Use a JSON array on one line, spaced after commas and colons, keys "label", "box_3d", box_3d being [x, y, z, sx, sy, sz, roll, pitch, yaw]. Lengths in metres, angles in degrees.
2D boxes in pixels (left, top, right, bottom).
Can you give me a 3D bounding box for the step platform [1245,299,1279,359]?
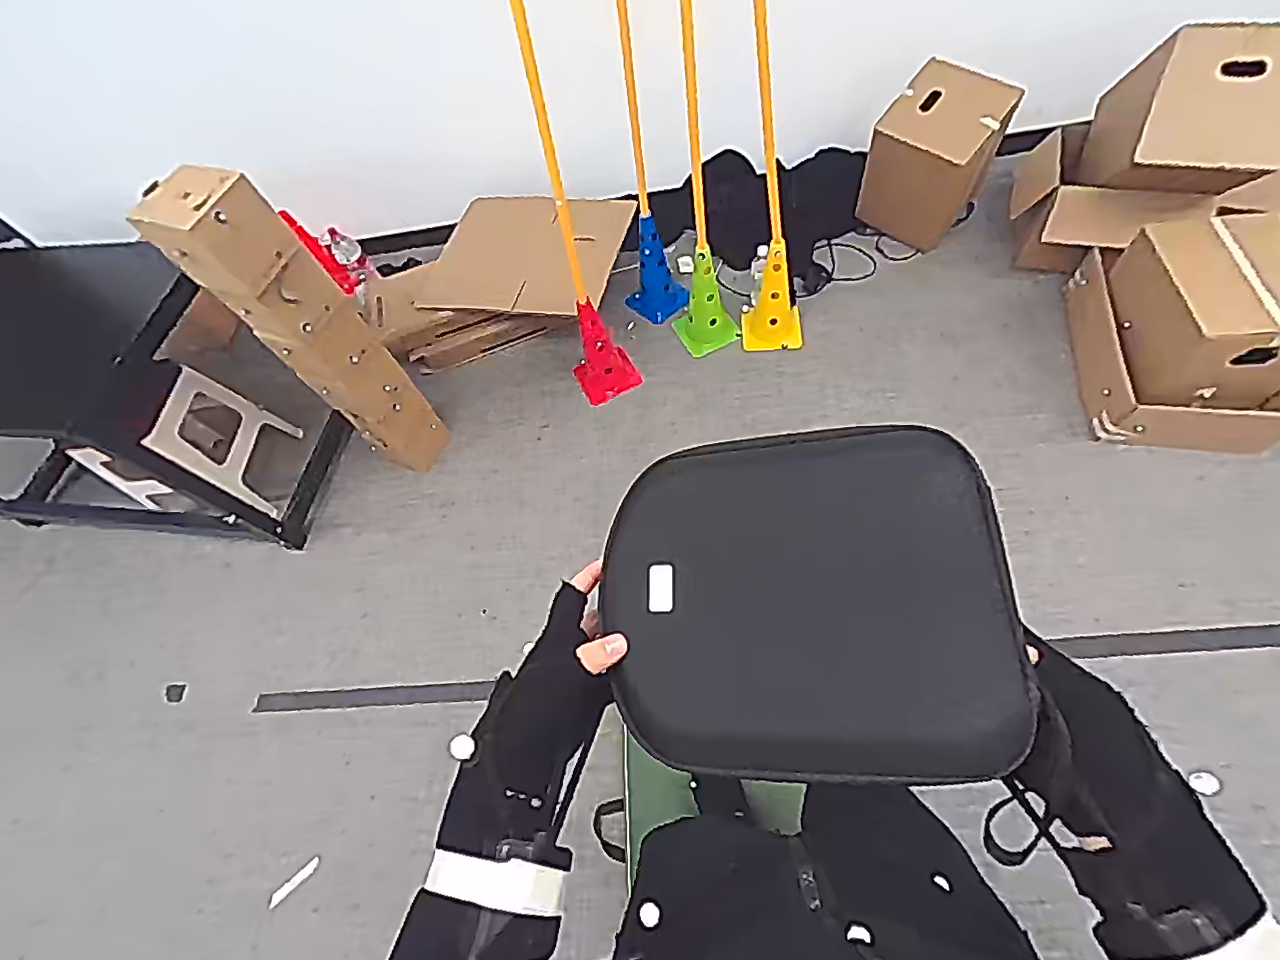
[{"label": "step platform", "box_3d": [2.158, -0.555, 1.544, 0.684, 0.204, 0.286, -31, 61, -7]}]
